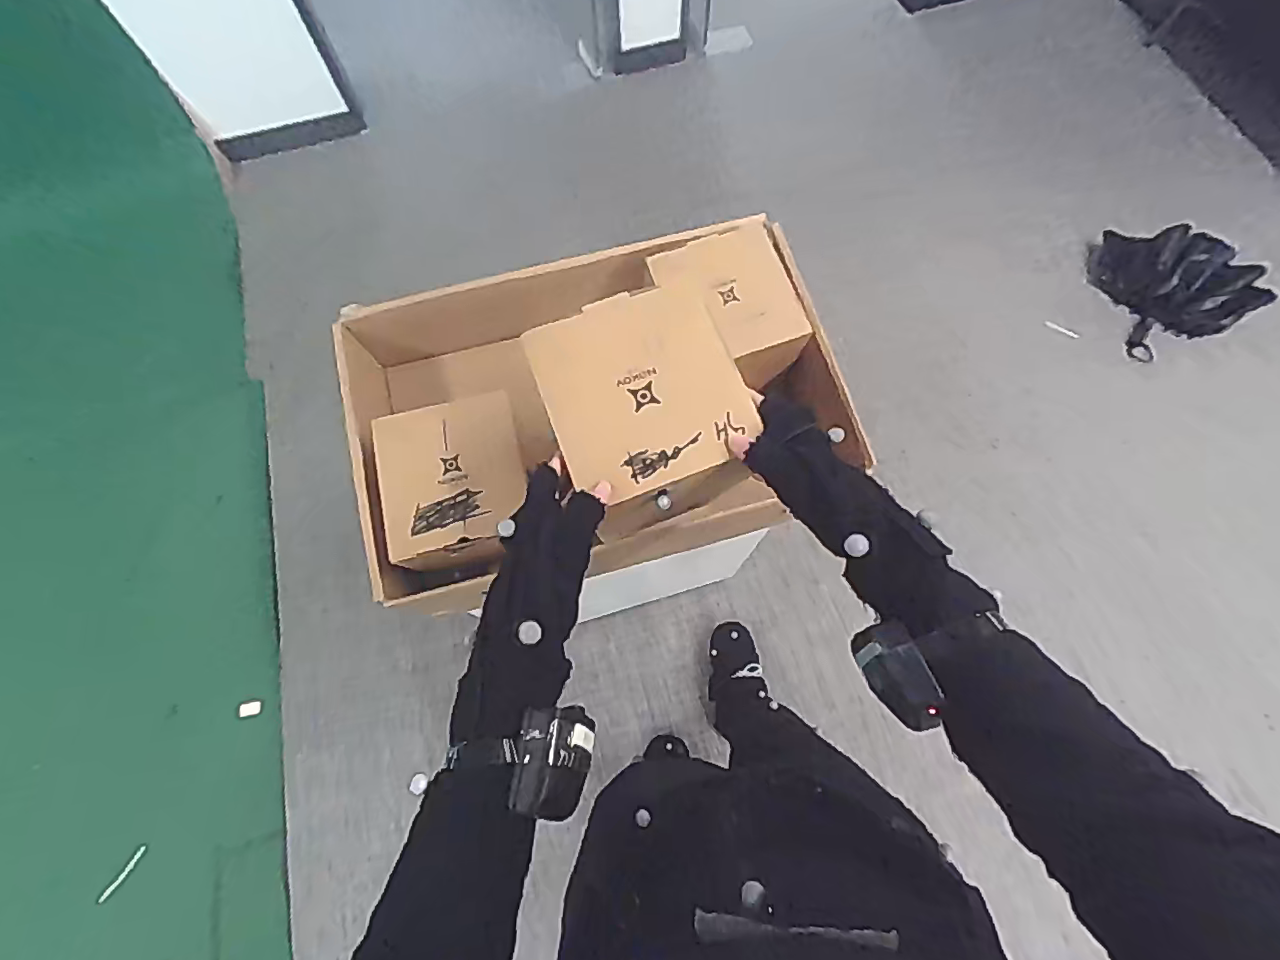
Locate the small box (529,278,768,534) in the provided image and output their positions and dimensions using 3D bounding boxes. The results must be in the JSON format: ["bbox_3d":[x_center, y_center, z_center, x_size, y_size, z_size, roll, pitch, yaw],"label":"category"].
[{"bbox_3d":[0.005,-0.061,0.546,0.168,0.176,0.179,-21,76,-3],"label":"small box"}]
